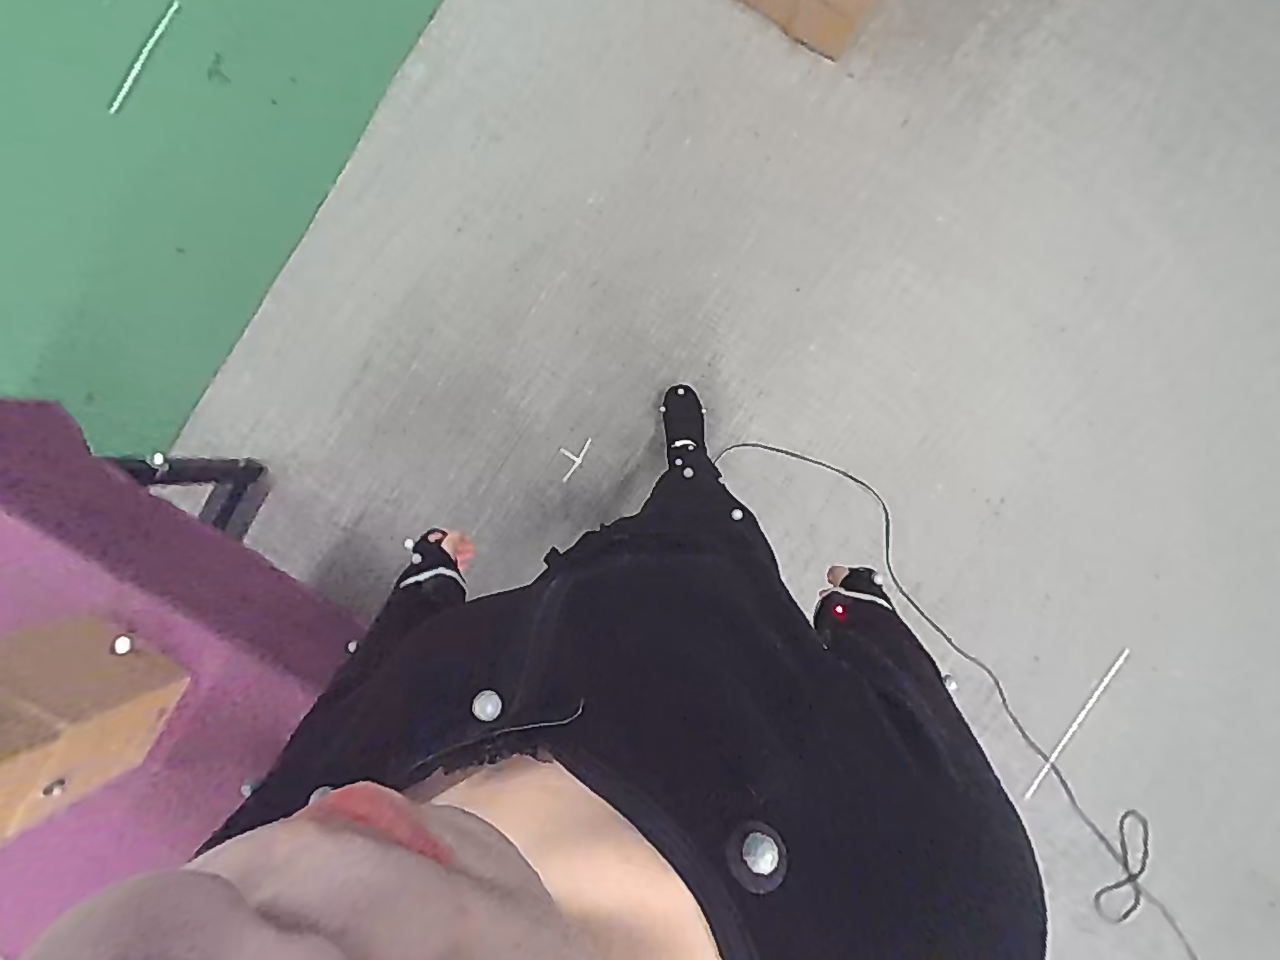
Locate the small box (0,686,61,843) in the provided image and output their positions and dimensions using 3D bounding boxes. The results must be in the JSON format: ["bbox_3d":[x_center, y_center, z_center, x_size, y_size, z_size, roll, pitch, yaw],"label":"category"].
[{"bbox_3d":[-0.782,0.329,0.558,0.168,0.176,0.179,33,92,0],"label":"small box"}]

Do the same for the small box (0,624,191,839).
[{"bbox_3d":[-0.773,0.313,0.721,0.179,0.176,0.168,32,93,2],"label":"small box"}]
